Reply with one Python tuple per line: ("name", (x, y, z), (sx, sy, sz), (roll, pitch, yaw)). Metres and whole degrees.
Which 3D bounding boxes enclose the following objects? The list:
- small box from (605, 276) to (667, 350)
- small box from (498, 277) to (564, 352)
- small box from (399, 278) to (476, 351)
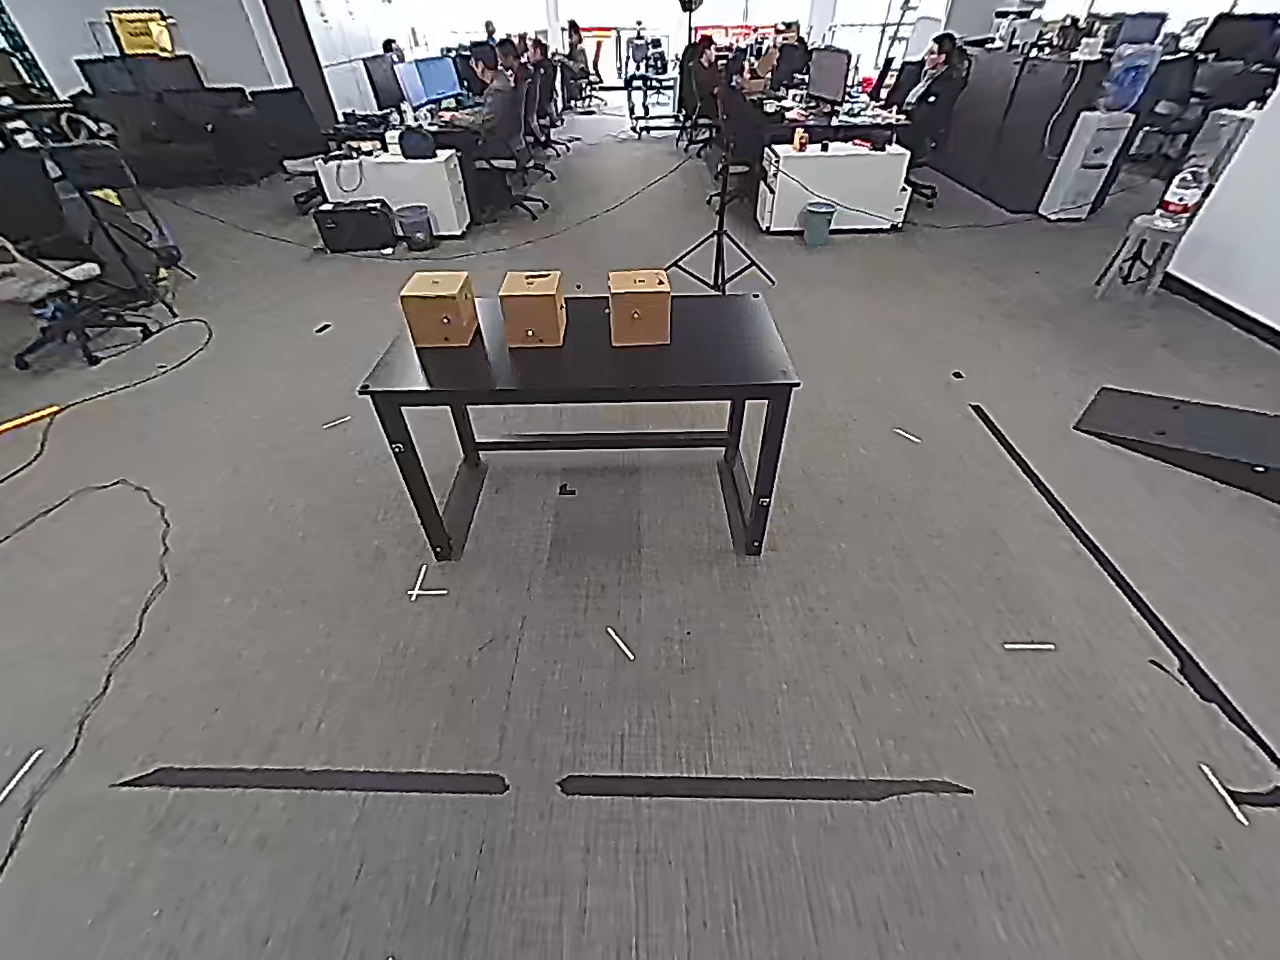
("small box", (-0.011, -0.511, 1.660), (0.179, 0.176, 0.168), (-4, 41, -3))
("small box", (-0.329, -0.510, 1.665), (0.168, 0.176, 0.179), (-2, 42, 0))
("small box", (-0.616, -0.510, 1.673), (0.168, 0.176, 0.179), (-1, 40, -2))
